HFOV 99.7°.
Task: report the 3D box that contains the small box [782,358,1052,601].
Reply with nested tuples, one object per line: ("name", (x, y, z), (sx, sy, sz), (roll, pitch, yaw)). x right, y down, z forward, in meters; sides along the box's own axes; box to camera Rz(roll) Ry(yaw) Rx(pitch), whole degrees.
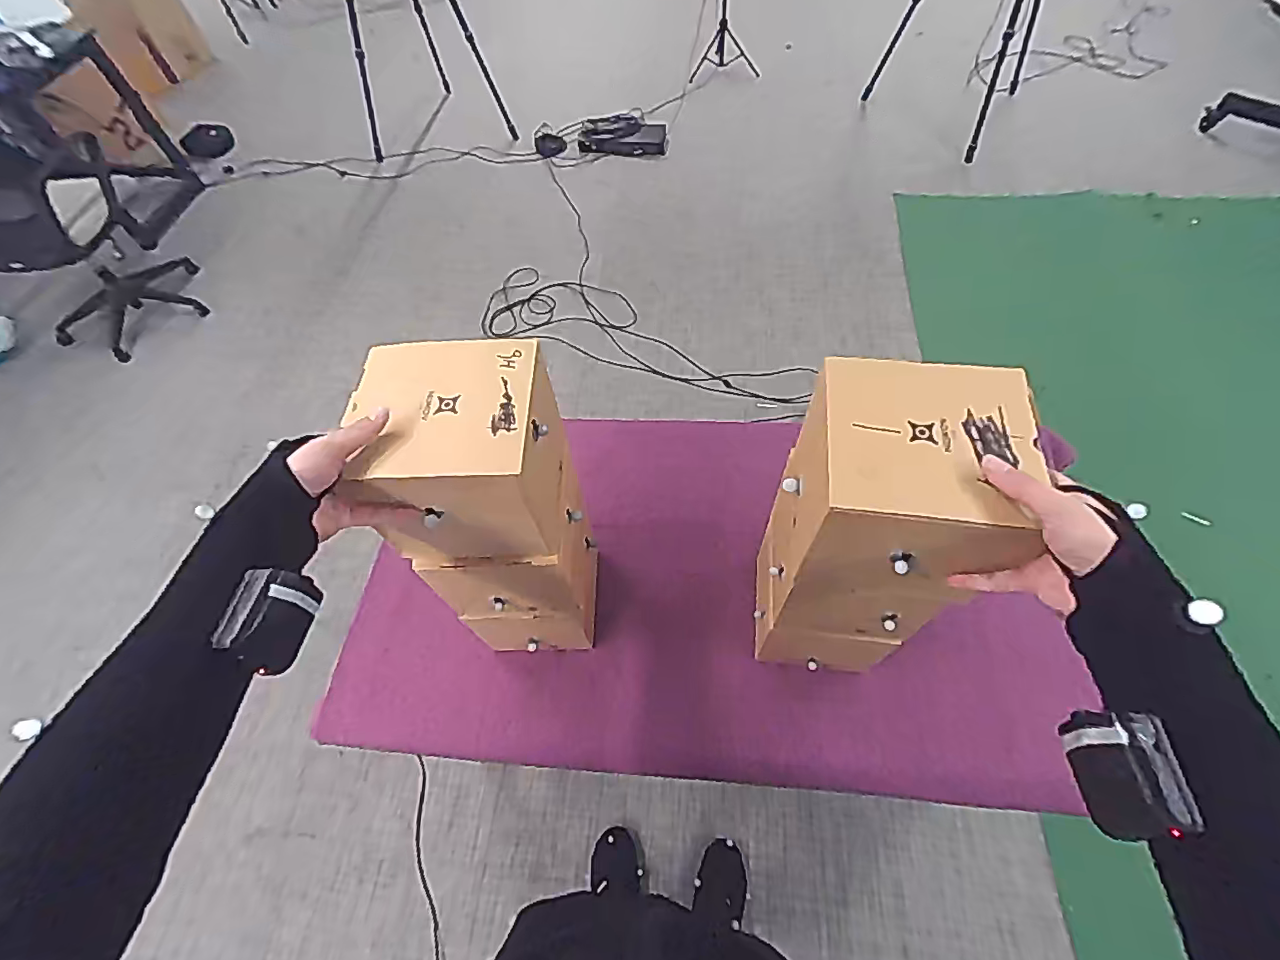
("small box", (0.242, 0.006, 0.523), (0.179, 0.176, 0.168), (6, 58, 8))

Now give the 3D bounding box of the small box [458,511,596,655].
("small box", (-0.163, 0.163, 0.846), (0.168, 0.176, 0.179), (-2, 57, 4))

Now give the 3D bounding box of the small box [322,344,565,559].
("small box", (-0.188, -0.023, 0.579), (0.179, 0.176, 0.168), (-2, 57, 4))

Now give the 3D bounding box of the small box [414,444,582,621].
("small box", (-0.171, 0.071, 0.713), (0.168, 0.176, 0.179), (-4, 57, 2))

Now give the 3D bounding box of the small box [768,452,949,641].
("small box", (0.252, 0.087, 0.666), (0.168, 0.176, 0.179), (4, 58, 7))
